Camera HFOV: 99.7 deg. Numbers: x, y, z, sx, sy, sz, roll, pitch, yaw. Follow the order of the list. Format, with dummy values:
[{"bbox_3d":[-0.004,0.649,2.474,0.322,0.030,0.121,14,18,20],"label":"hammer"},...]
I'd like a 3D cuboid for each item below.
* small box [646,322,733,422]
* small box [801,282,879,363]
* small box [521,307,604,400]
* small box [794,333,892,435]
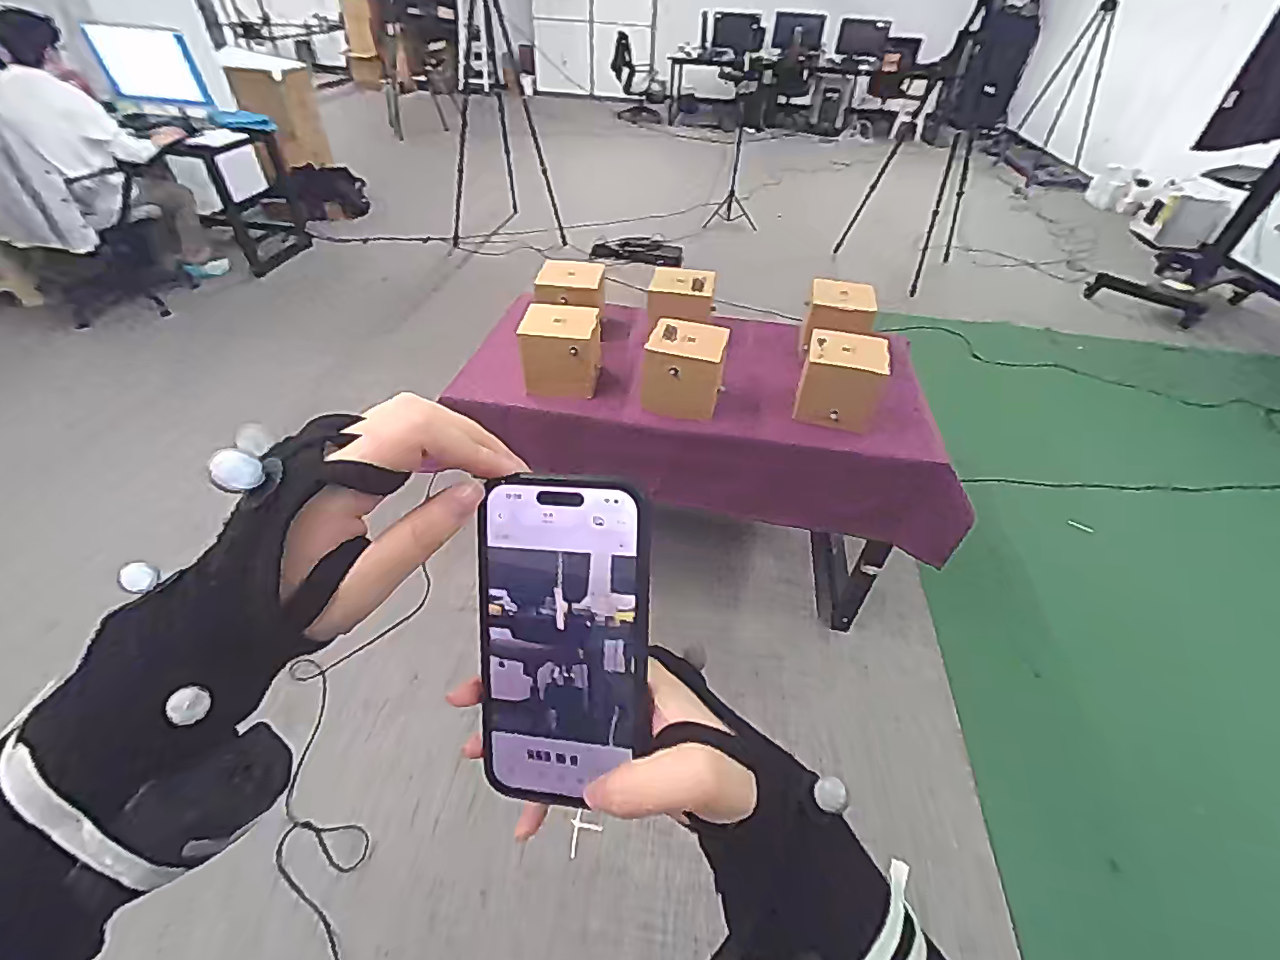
[{"bbox_3d":[0.117,-0.261,1.316,0.179,0.176,0.168,13,44,10],"label":"small box"},{"bbox_3d":[0.558,-0.434,1.528,0.168,0.176,0.179,11,44,9],"label":"small box"},{"bbox_3d":[-0.189,-0.316,1.360,0.179,0.176,0.168,6,42,1],"label":"small box"},{"bbox_3d":[0.486,-0.228,1.302,0.179,0.176,0.168,14,43,11],"label":"small box"}]
